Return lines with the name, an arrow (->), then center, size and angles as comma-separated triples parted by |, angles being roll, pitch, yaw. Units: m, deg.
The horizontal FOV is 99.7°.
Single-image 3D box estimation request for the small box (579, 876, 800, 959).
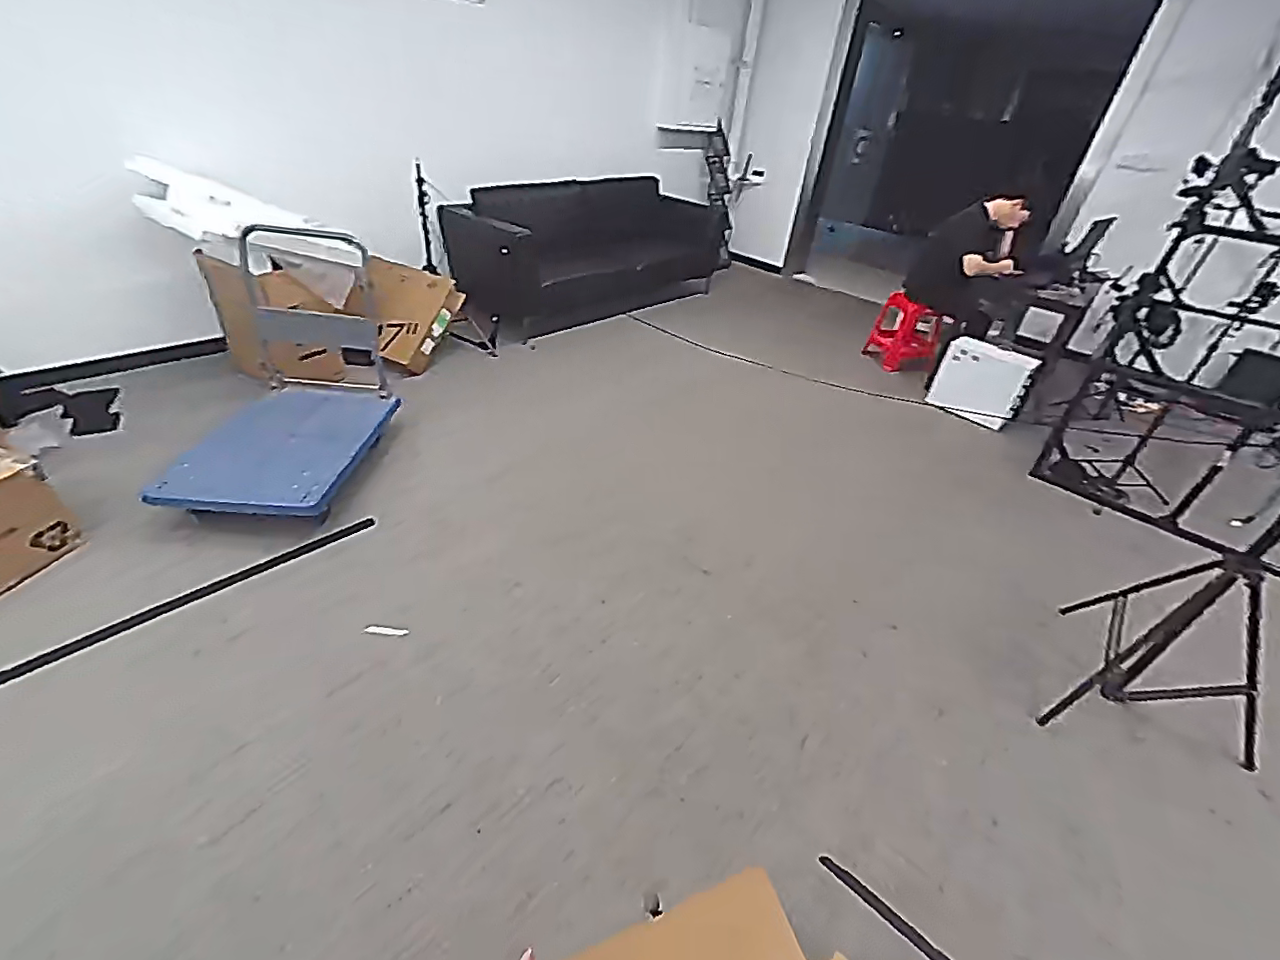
small box -> 0.021, 0.398, 0.351 | 0.179, 0.176, 0.168 | -9, 48, -22
